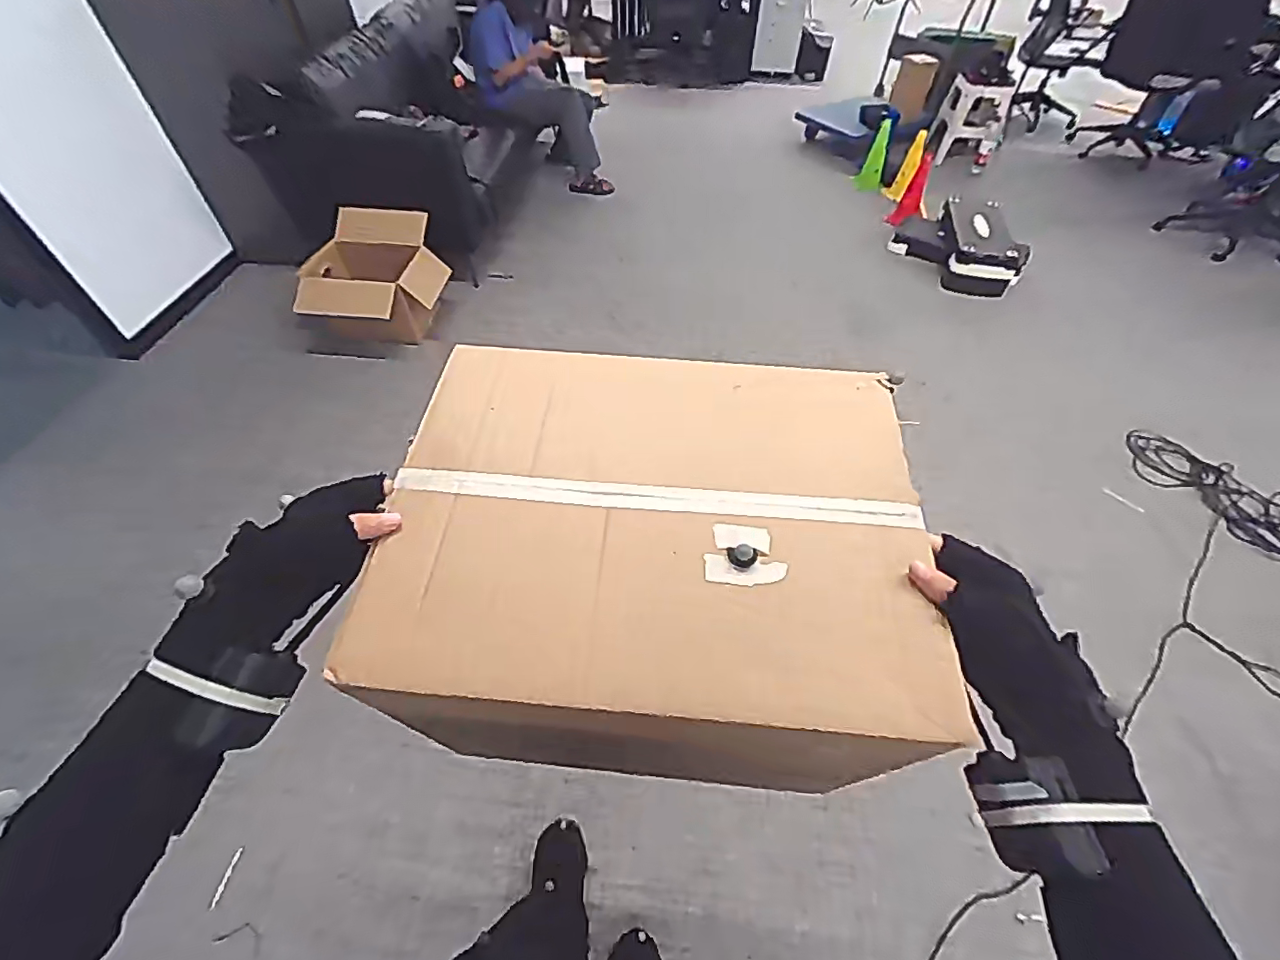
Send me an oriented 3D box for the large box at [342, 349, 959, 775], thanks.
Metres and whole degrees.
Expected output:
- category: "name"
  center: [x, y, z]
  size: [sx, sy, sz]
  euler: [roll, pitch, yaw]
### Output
- category: "large box"
  center: [0.010, 0.096, 0.548]
  size: [0.408, 0.320, 0.320]
  euler: [5, 56, 2]
